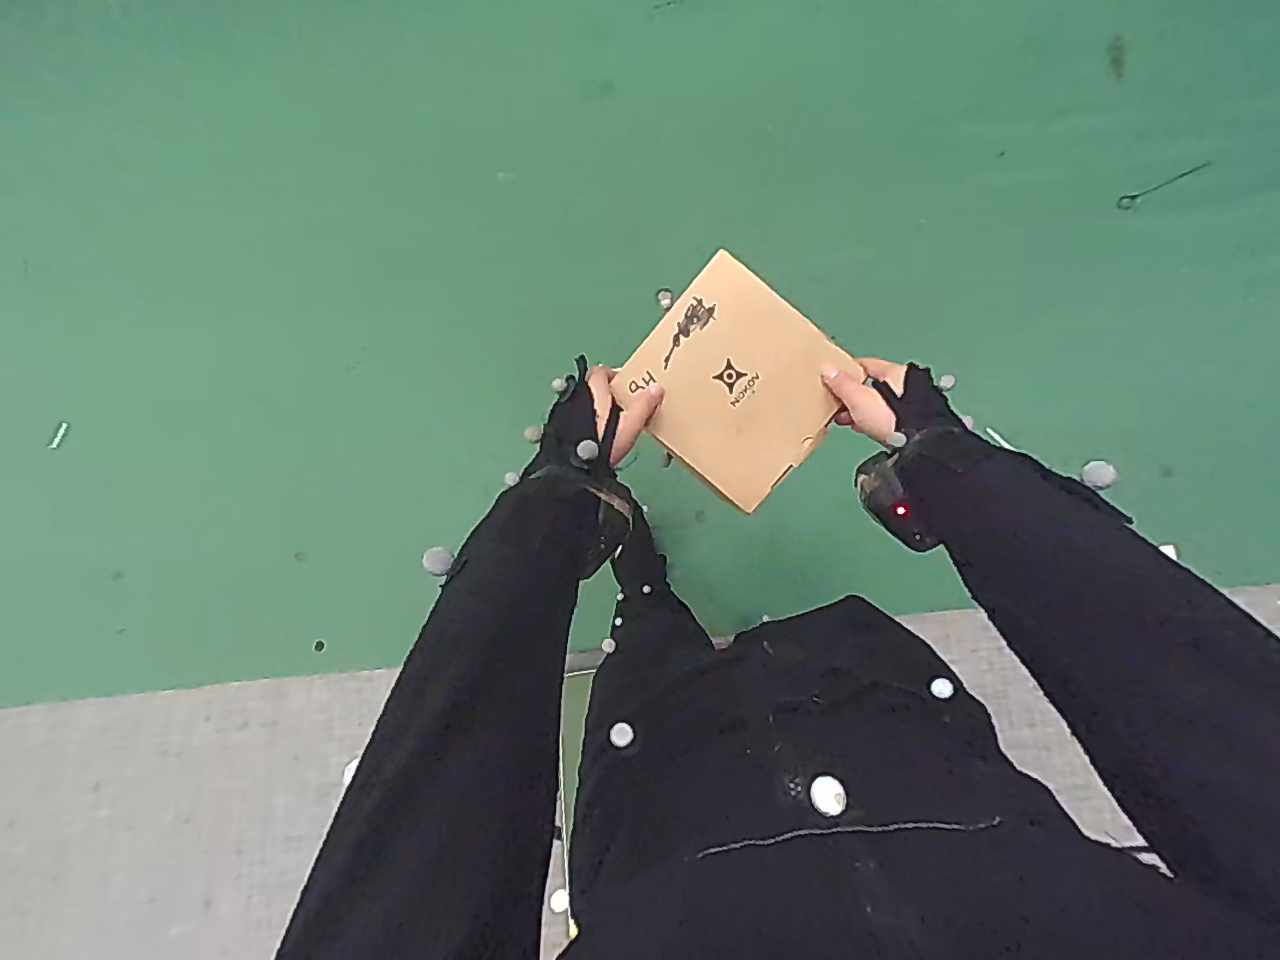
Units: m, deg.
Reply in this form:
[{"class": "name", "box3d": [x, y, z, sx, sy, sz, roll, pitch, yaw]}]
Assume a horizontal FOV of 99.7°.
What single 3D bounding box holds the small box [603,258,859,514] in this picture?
[{"class": "small box", "box3d": [0.082, -0.089, 0.567, 0.179, 0.176, 0.168, 40, 92, -3]}]
